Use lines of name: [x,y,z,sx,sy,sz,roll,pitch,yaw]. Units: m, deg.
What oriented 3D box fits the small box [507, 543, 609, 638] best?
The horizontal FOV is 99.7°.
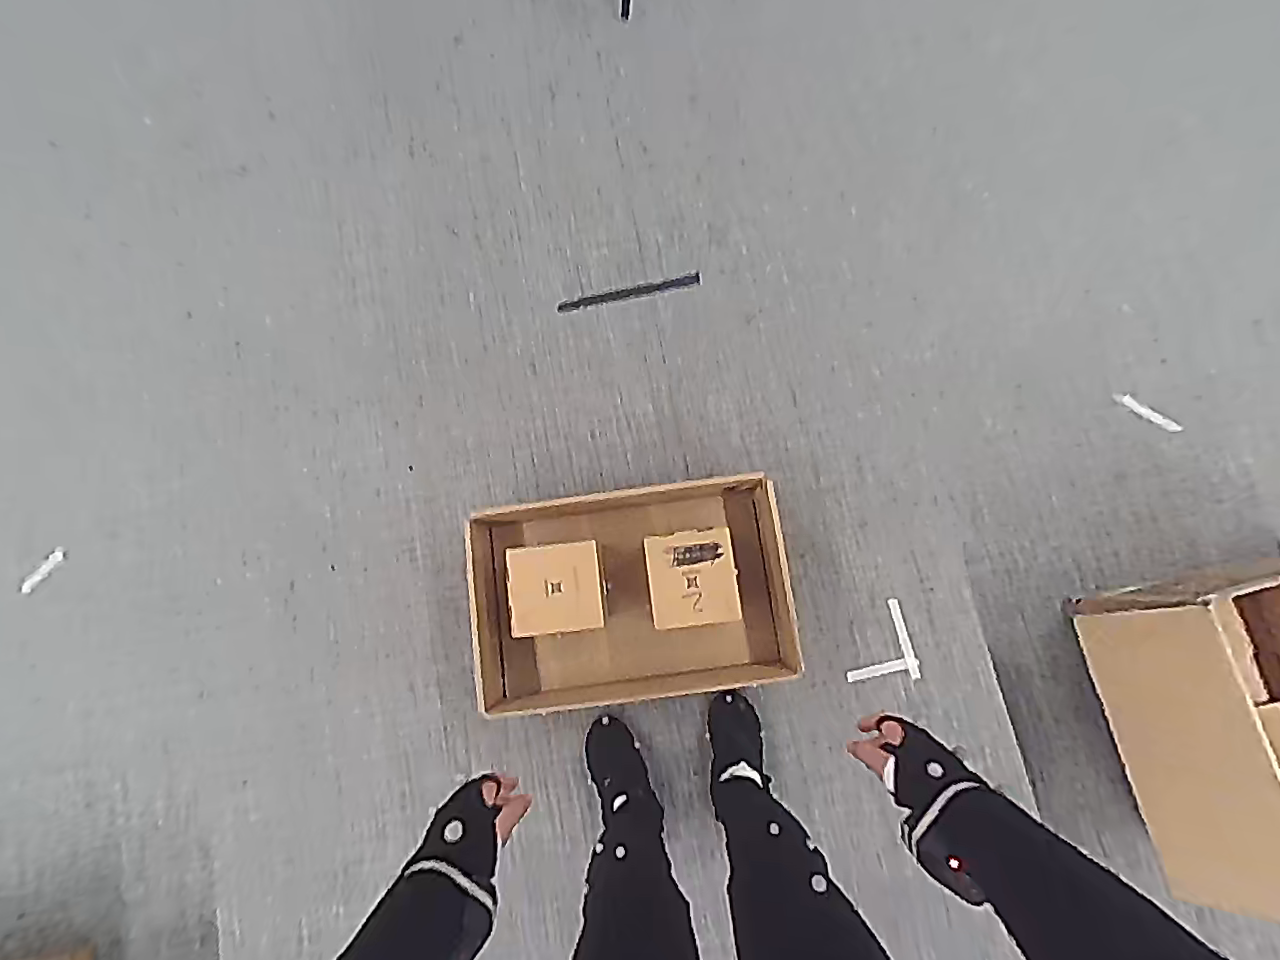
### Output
small box: [-0.163,0.223,1.111,0.179,0.176,0.168,-7,82,-2]
